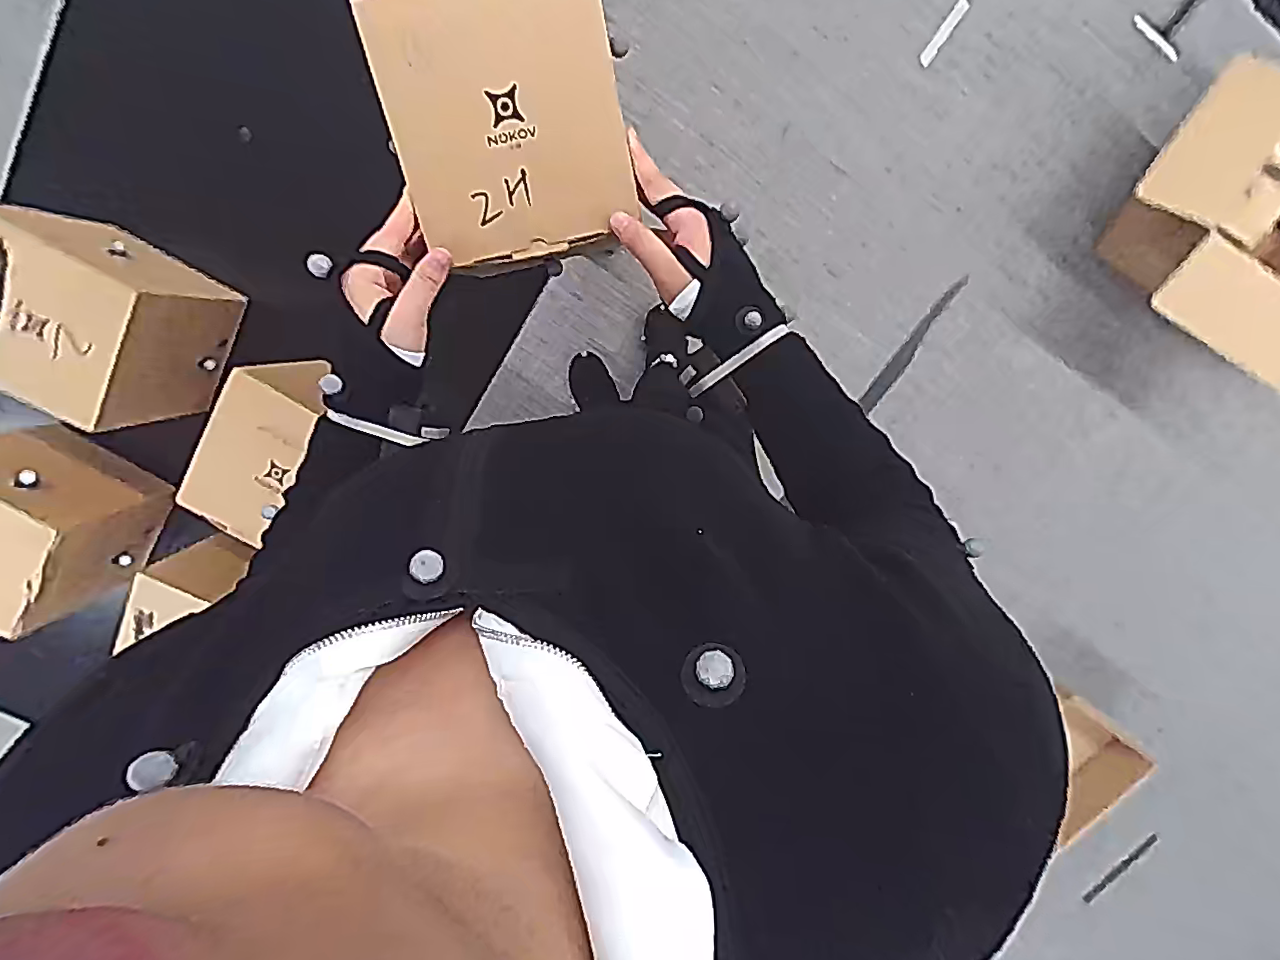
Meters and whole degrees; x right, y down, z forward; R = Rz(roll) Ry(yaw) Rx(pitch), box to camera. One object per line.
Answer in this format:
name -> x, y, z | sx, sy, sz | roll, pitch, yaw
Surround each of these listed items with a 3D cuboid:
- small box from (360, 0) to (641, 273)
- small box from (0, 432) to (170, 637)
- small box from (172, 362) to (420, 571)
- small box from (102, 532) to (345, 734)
small box -> -0.098, -0.284, 0.459 | 0.168, 0.176, 0.179 | -11, 109, 1
small box -> -0.763, 0.054, 0.677 | 0.179, 0.176, 0.168 | 33, 102, -10
small box -> -0.400, -0.027, 0.661 | 0.168, 0.176, 0.179 | 31, 102, -9
small box -> -0.530, 0.188, 0.714 | 0.179, 0.176, 0.168 | 26, 103, -8
